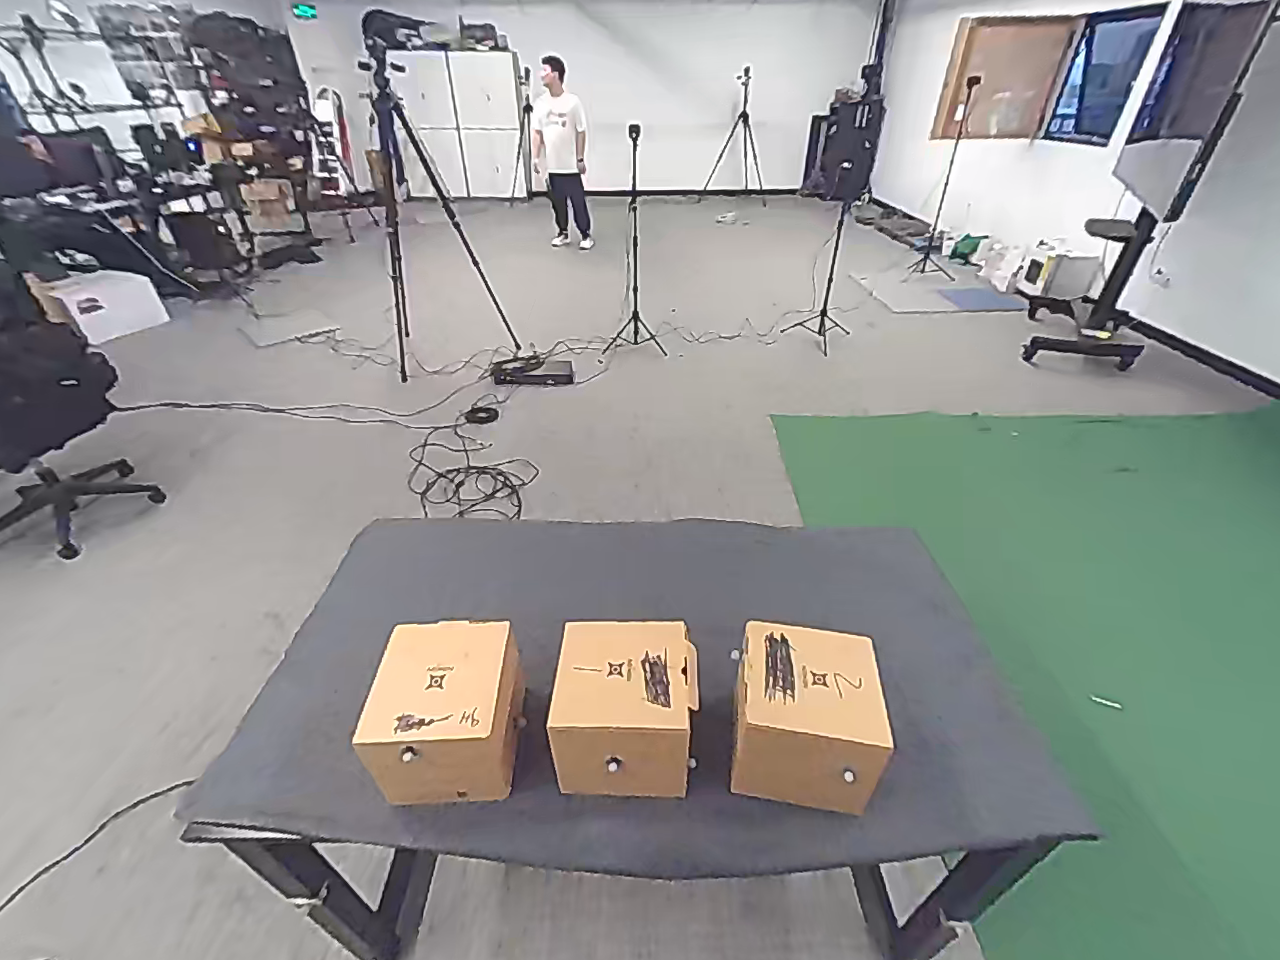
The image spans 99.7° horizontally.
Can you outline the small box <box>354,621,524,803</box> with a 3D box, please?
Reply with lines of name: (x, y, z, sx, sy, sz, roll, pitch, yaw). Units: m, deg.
small box: (-0.262, 0.321, 0.757, 0.168, 0.176, 0.179, -2, 36, -1)
